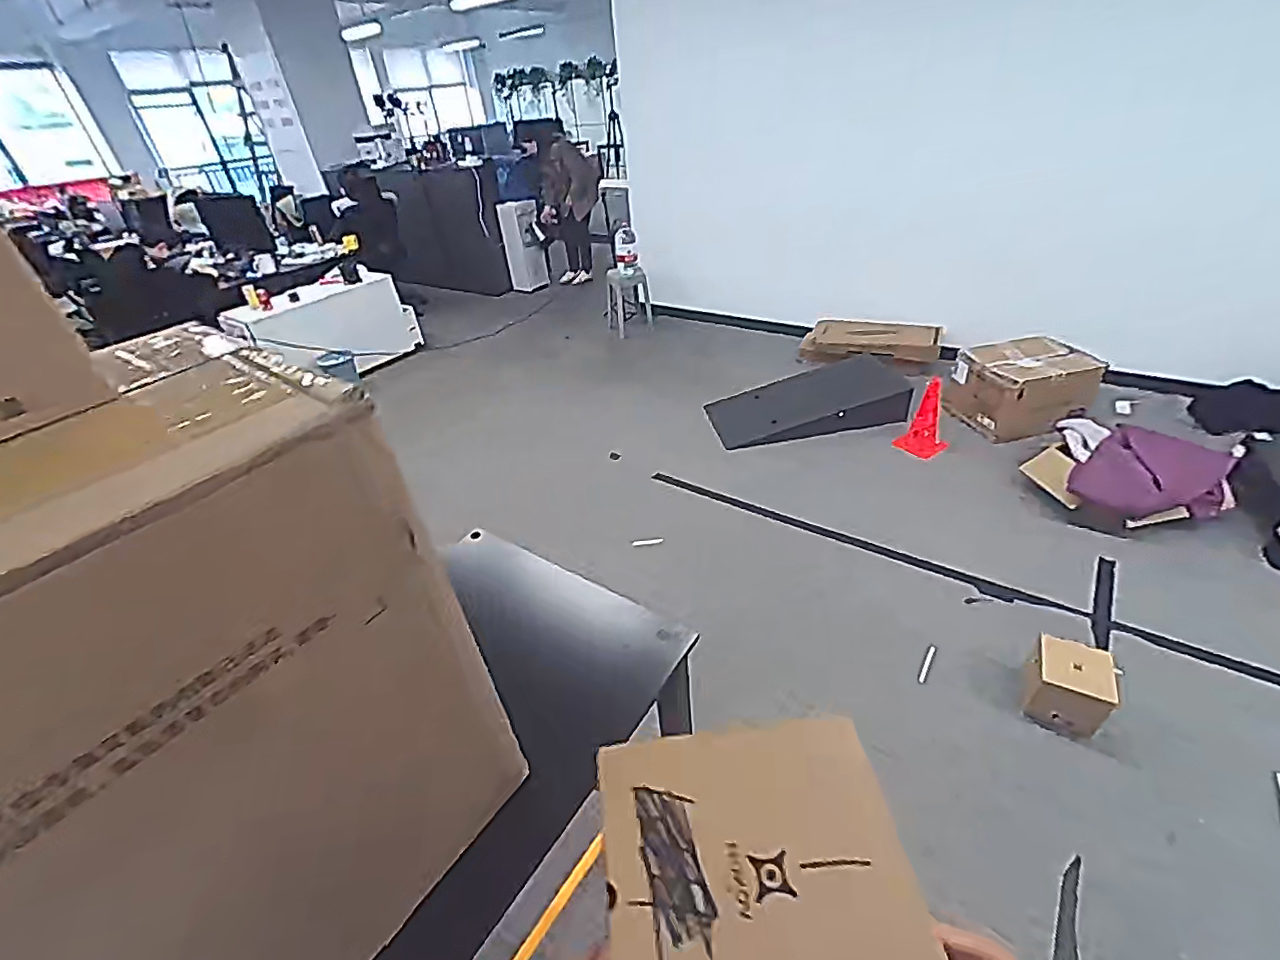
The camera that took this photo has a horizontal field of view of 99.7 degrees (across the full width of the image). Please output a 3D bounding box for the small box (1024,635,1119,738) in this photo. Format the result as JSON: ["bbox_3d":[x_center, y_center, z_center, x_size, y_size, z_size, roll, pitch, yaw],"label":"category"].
[{"bbox_3d":[1.196,0.576,1.512,0.168,0.176,0.179,13,41,26],"label":"small box"}]

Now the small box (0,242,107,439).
[{"bbox_3d":[-0.562,-0.111,0.396,0.179,0.176,0.168,16,41,30],"label":"small box"}]

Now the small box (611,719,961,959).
[{"bbox_3d":[0.081,0.286,0.357,0.179,0.176,0.168,-8,41,0],"label":"small box"}]
